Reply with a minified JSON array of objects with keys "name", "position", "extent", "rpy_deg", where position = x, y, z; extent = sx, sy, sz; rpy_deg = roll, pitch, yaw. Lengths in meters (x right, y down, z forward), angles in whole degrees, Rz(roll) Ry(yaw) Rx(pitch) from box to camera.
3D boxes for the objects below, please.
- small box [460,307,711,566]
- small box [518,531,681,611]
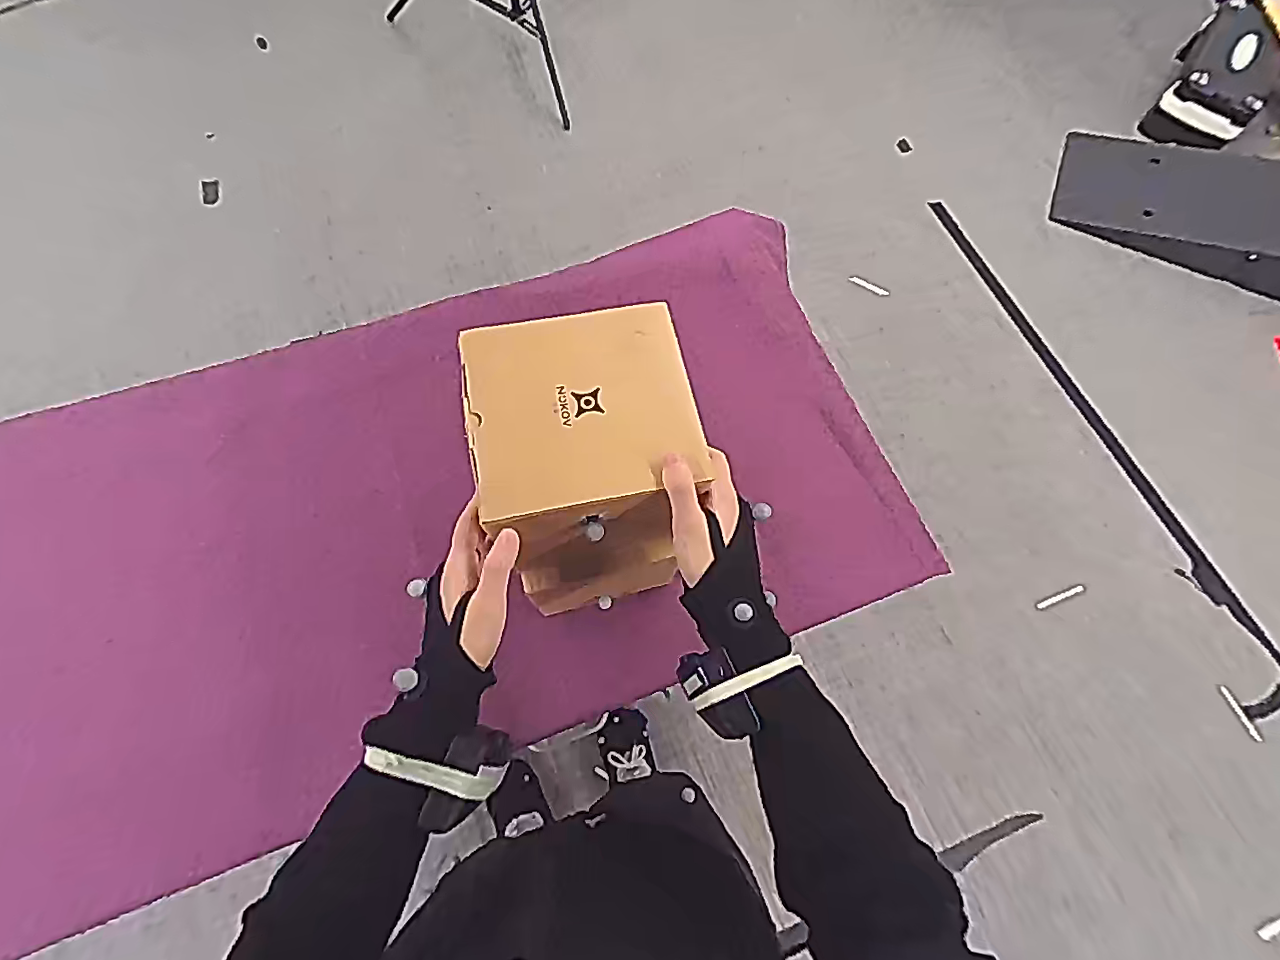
[{"name":"small box","position":[-0.050,-0.029,0.496],"extent":[0.179,0.176,0.168],"rpy_deg":[-11,70,-6]},{"name":"small box","position":[-0.061,0.044,0.642],"extent":[0.168,0.176,0.179],"rpy_deg":[-13,71,-7]}]
